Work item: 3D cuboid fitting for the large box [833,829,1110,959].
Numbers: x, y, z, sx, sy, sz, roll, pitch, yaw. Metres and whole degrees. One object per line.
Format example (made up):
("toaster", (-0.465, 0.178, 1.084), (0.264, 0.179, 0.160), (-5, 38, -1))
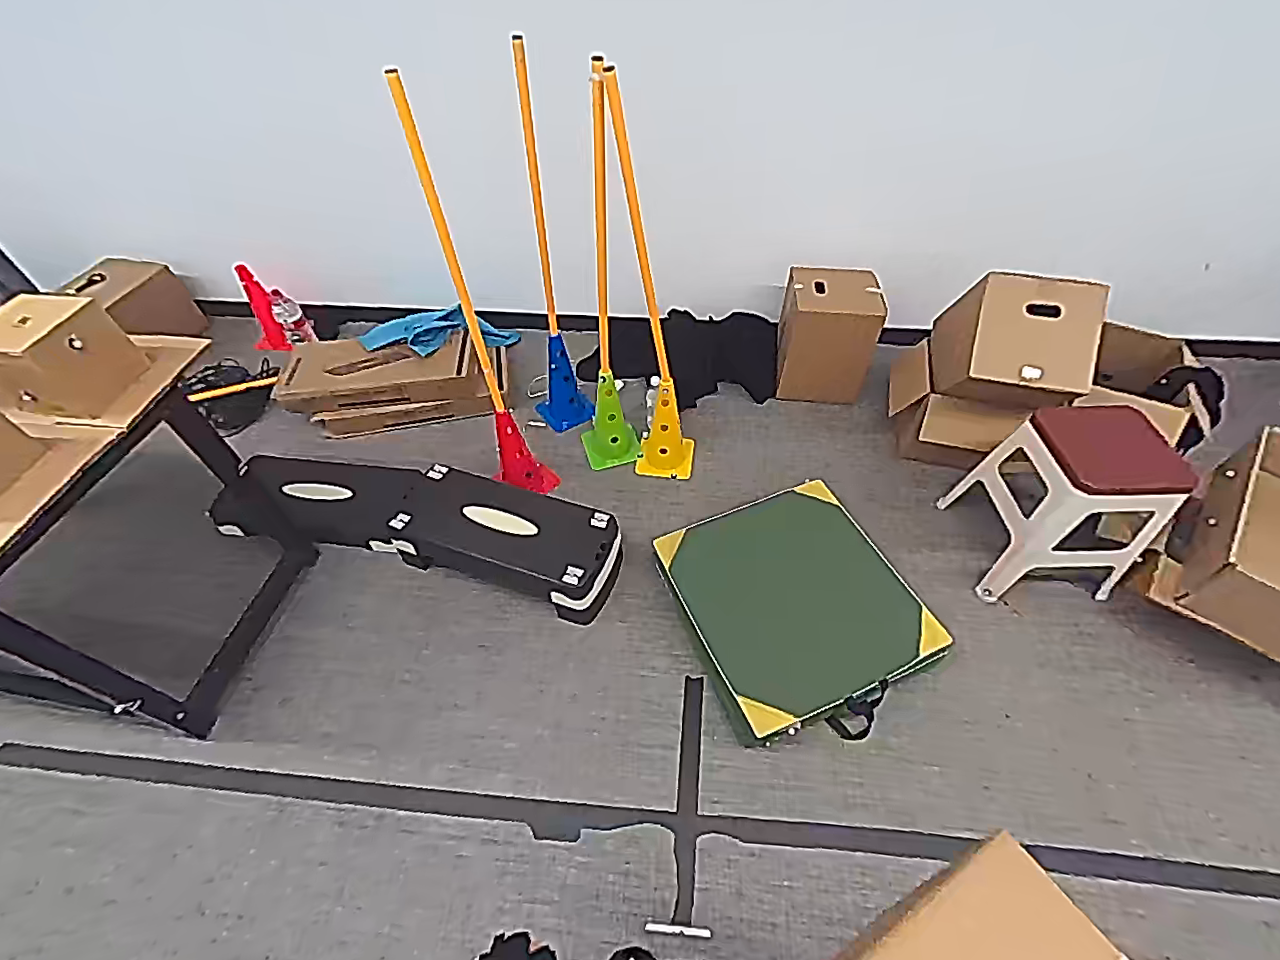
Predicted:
("large box", (0.400, 0.735, 0.672), (0.320, 0.408, 0.320), (-15, 42, -26))
